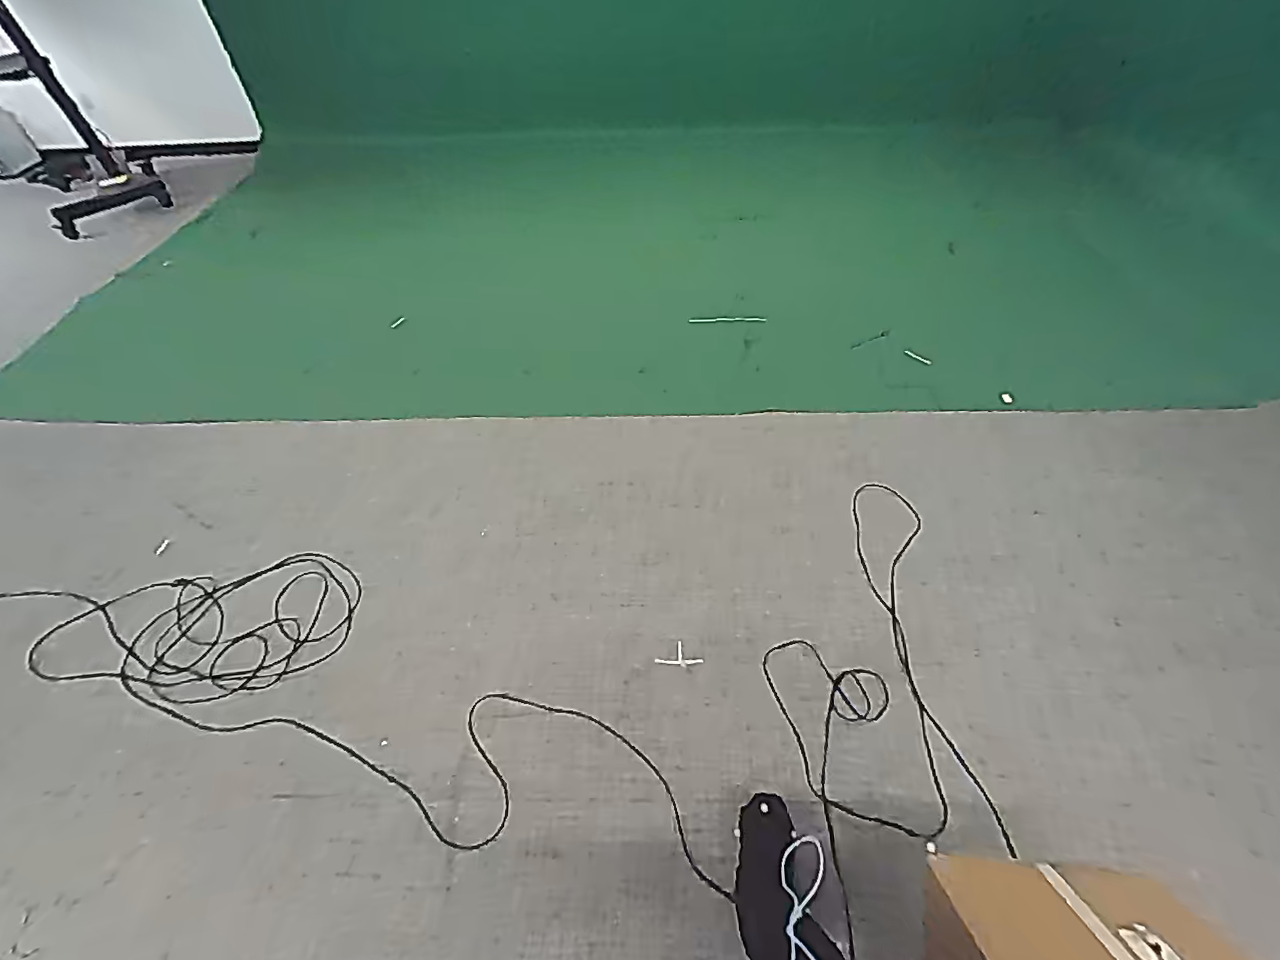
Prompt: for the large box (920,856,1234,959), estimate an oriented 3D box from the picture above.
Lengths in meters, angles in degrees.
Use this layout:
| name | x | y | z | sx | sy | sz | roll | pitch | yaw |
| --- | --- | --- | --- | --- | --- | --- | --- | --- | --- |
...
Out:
| name | x | y | z | sx | sy | sz | roll | pitch | yaw |
| --- | --- | --- | --- | --- | --- | --- | --- | --- | --- |
| large box | 0.546 | 0.717 | 0.594 | 0.320 | 0.408 | 0.320 | 3 | 91 | 6 |
